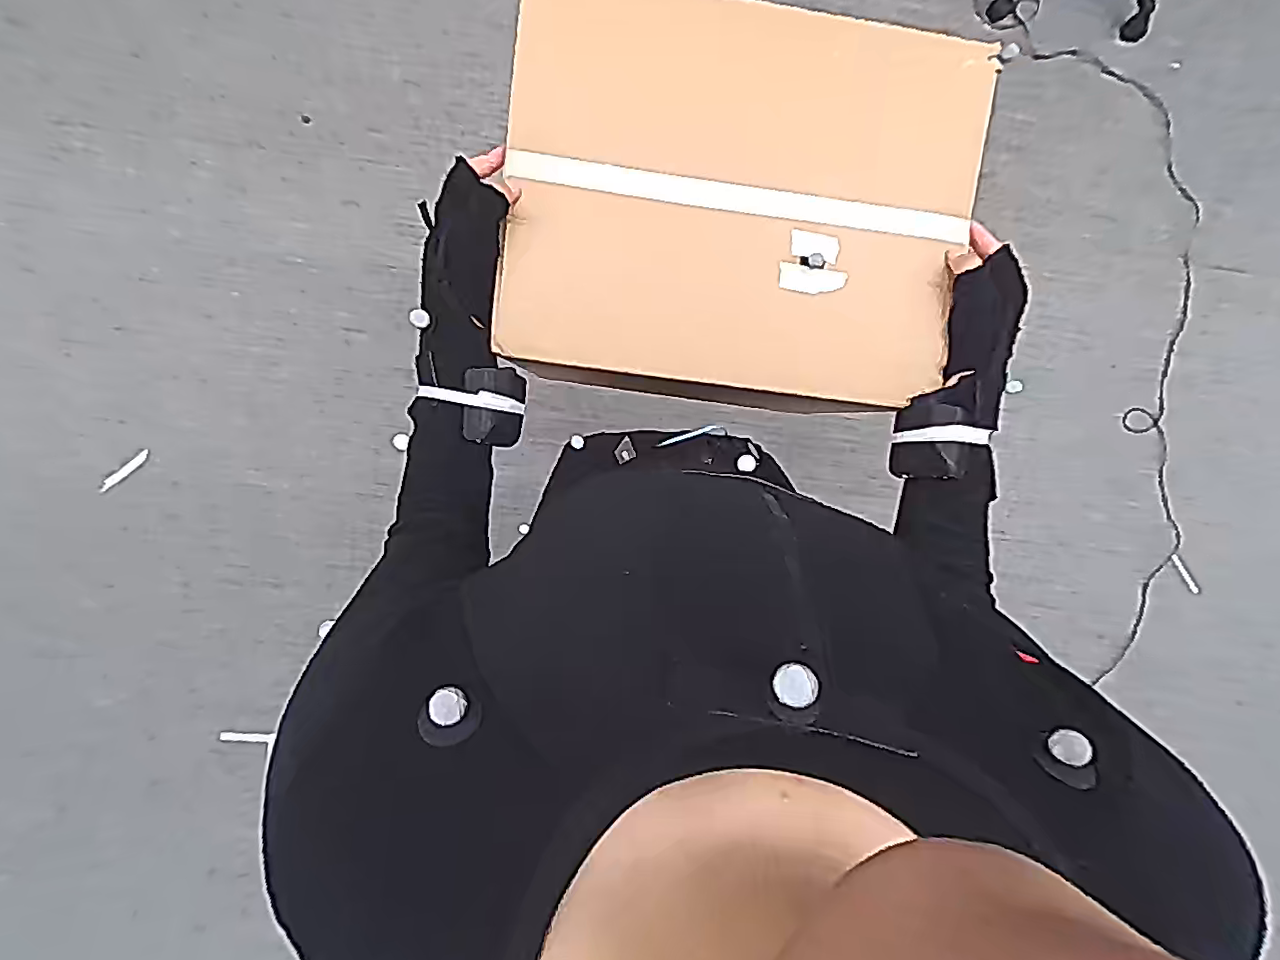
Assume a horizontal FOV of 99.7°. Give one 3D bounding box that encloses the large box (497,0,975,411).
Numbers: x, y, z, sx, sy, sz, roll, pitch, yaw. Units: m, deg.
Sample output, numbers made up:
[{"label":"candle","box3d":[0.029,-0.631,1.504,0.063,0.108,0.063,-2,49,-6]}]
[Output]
[{"label":"large box","box3d":[0.072,-0.256,0.623,0.408,0.320,0.320,7,98,-5]}]
